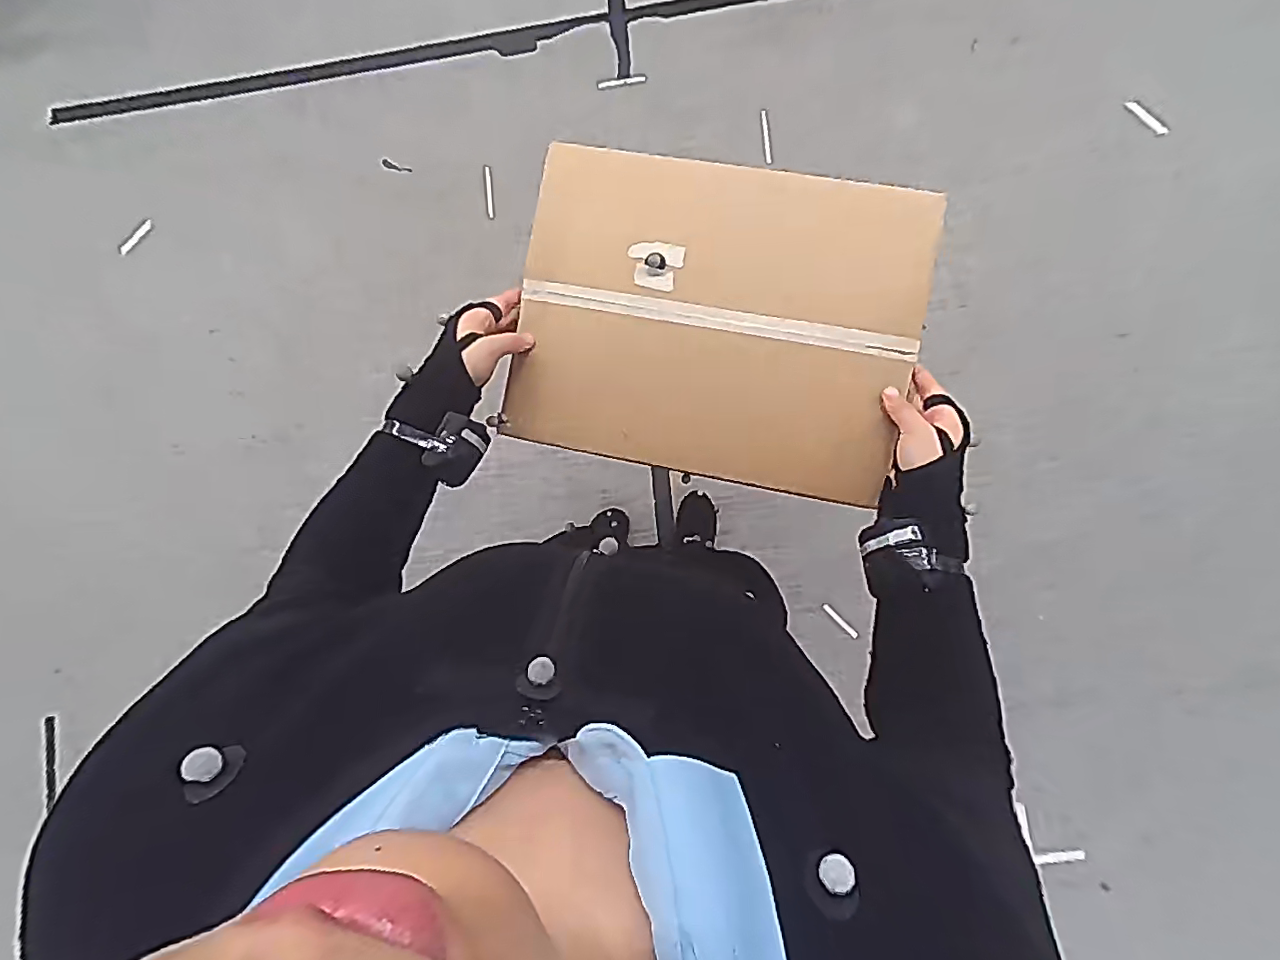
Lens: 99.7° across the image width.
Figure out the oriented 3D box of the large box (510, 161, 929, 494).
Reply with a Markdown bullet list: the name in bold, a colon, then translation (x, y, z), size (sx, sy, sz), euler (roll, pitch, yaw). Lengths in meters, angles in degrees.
- **large box**: translation (0.093, -0.168, 0.714), size (0.408, 0.320, 0.320), euler (10, 91, 7)
